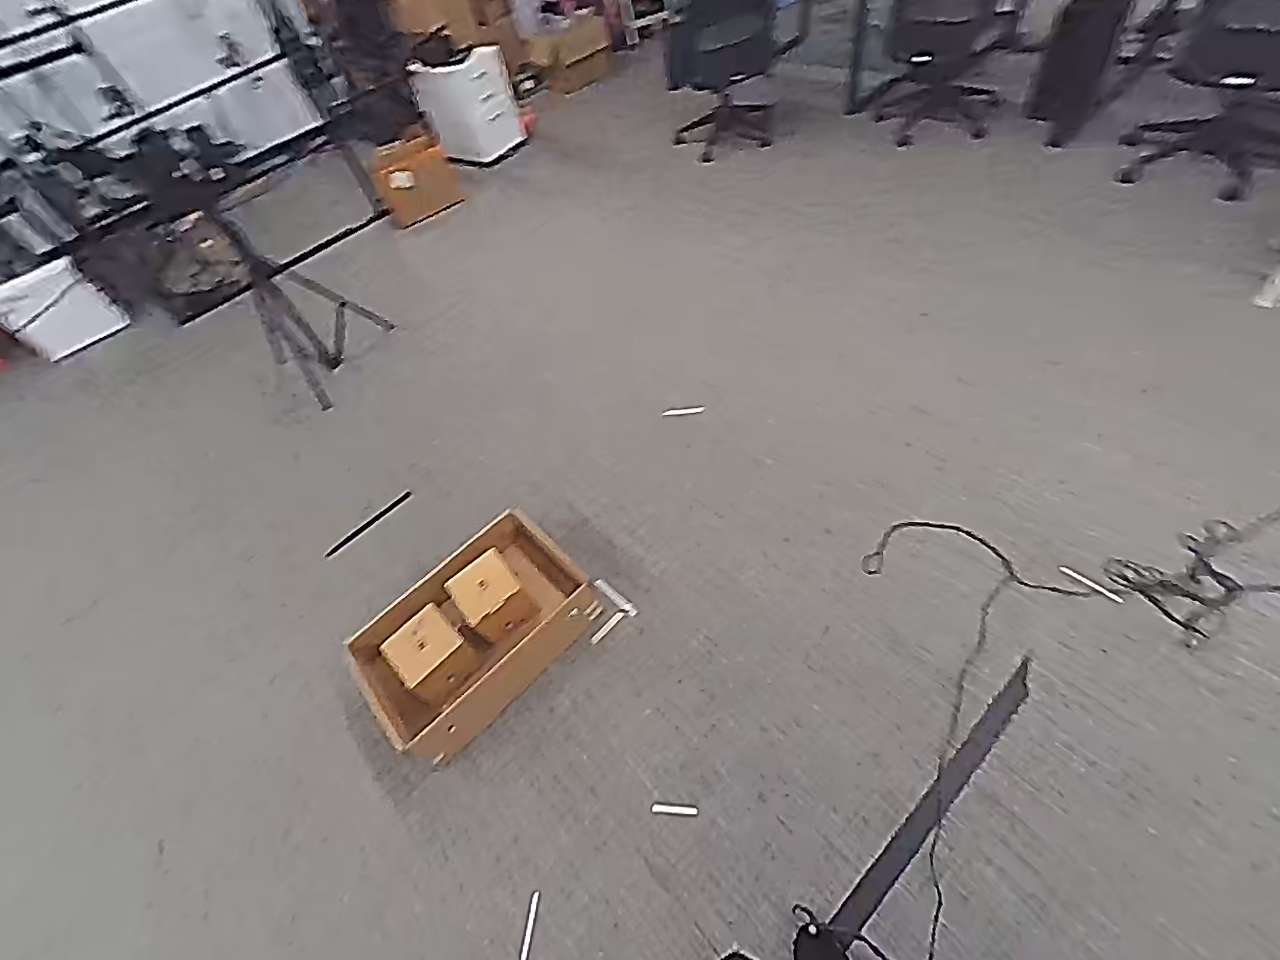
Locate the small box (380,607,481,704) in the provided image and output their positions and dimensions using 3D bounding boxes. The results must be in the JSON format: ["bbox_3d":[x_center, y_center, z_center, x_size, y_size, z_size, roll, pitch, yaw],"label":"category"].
[{"bbox_3d":[-0.572,0.493,1.498,0.179,0.176,0.168,34,65,32],"label":"small box"}]

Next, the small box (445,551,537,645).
[{"bbox_3d":[-0.432,0.349,1.580,0.168,0.176,0.179,-37,54,-15],"label":"small box"}]
